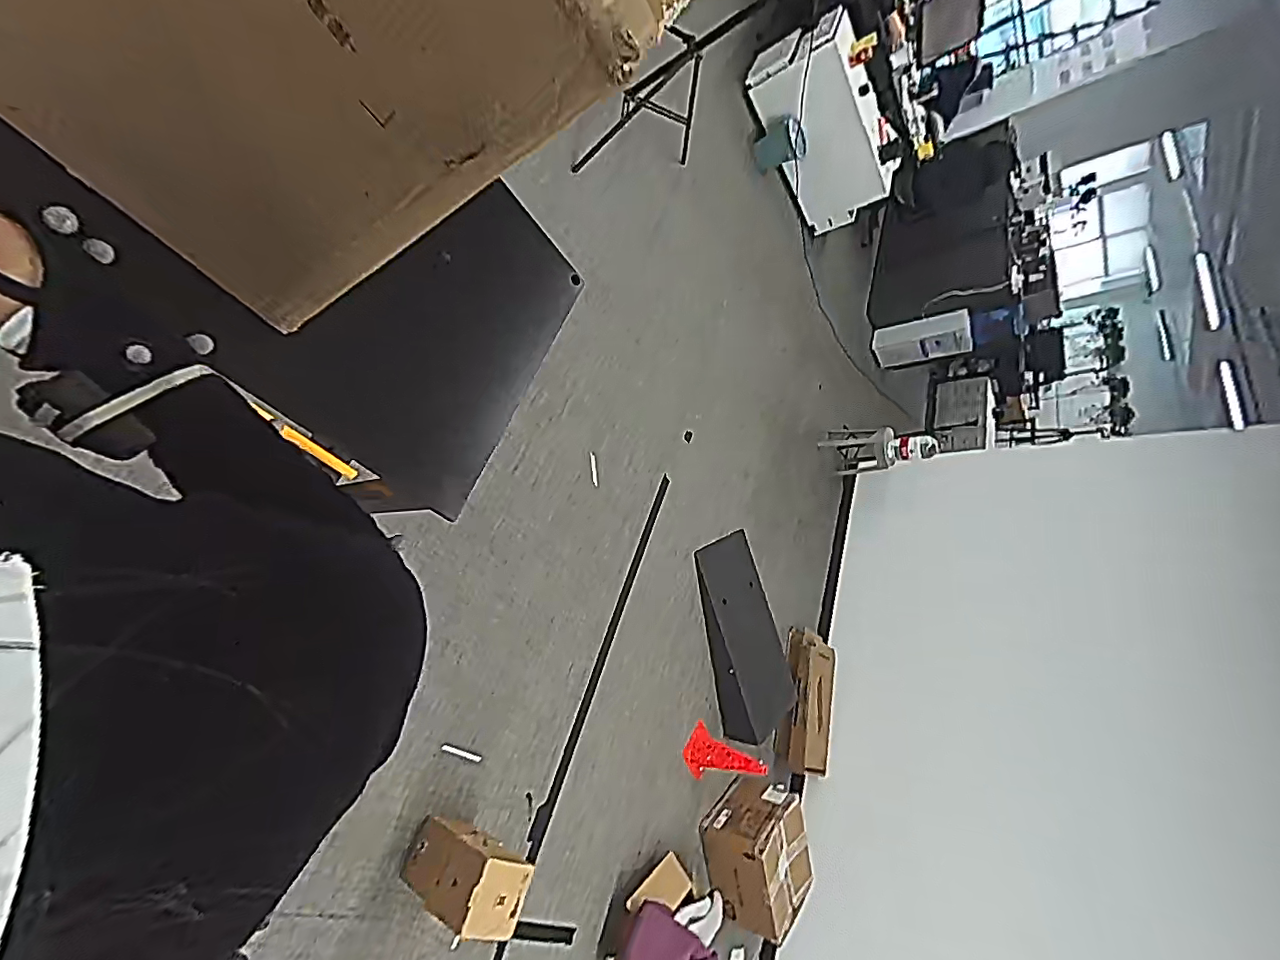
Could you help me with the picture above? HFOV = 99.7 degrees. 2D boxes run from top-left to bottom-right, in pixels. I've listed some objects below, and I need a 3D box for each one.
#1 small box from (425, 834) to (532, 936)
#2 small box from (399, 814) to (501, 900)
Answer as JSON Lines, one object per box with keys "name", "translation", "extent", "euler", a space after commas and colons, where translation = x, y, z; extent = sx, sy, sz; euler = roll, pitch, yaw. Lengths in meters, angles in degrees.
{"name": "small box", "translation": [-0.424, 1.055, 1.416], "extent": [0.179, 0.176, 0.168], "euler": [45, 53, -37]}
{"name": "small box", "translation": [-0.539, 1.074, 1.533], "extent": [0.179, 0.176, 0.168], "euler": [43, 54, -37]}
